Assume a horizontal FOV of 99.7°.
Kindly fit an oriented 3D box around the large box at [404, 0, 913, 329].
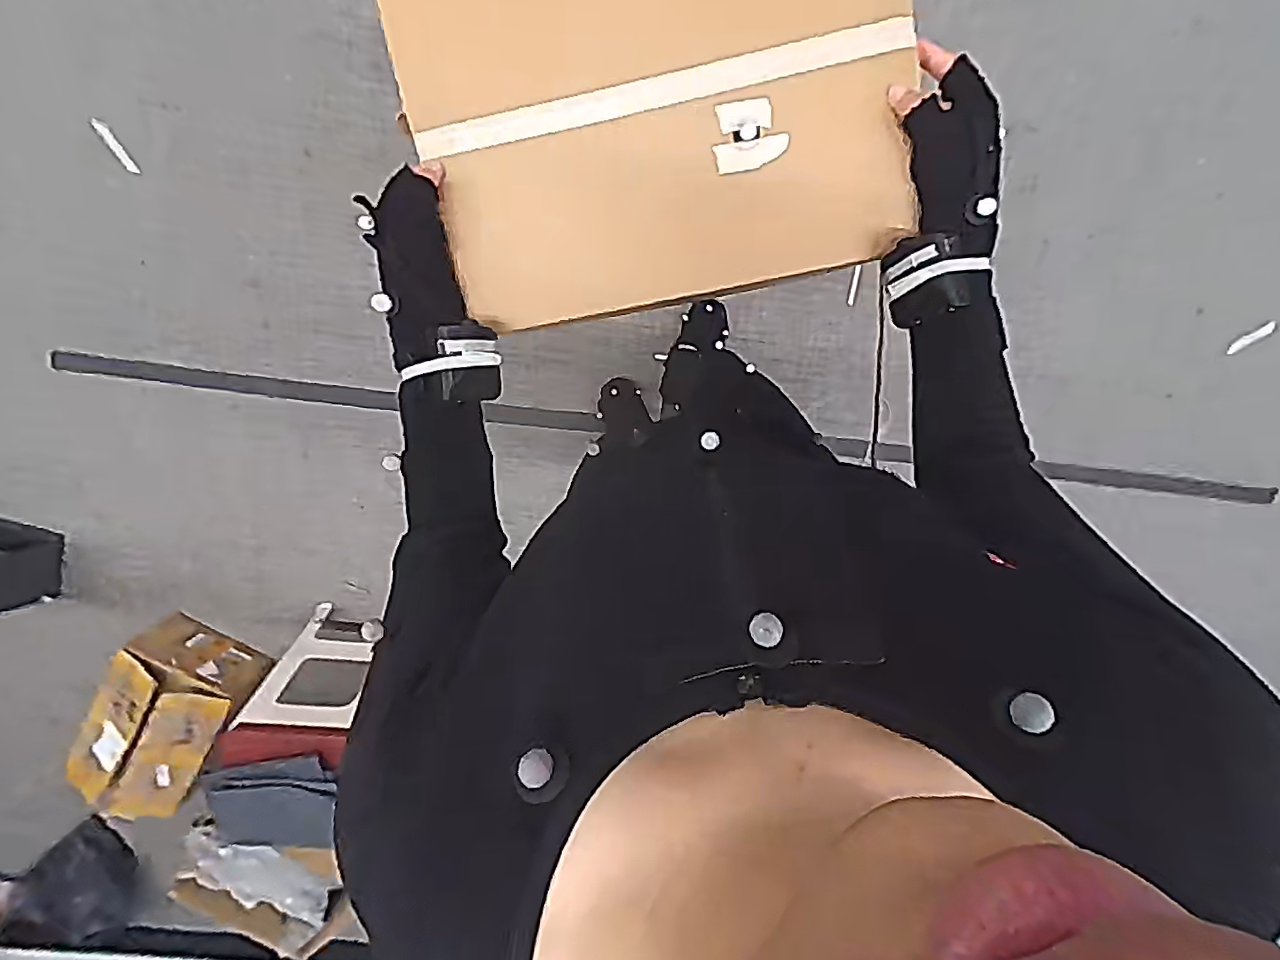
[{"bbox_3d":[0.024,-0.362,0.599,0.408,0.320,0.320,-9,107,4],"label":"large box"}]
